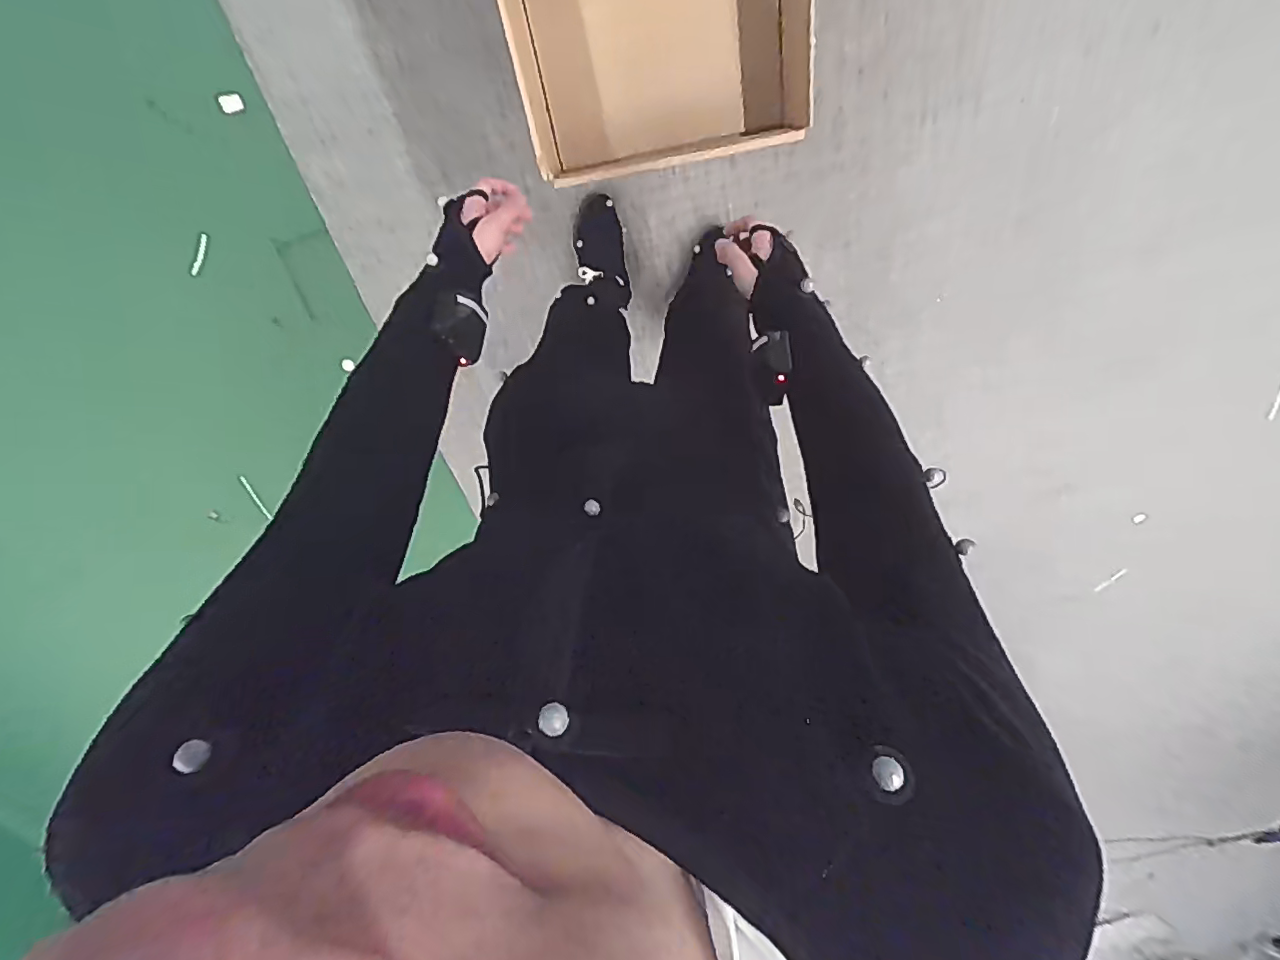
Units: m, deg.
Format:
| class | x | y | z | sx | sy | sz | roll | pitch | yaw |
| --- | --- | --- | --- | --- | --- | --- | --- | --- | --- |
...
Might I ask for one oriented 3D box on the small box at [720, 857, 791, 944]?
| class | x | y | z | sx | sy | sz | roll | pitch | yaw |
| --- | --- | --- | --- | --- | --- | --- | --- | --- | --- |
| small box | 0.344 | 1.259 | 1.627 | 0.168 | 0.176 | 0.179 | -14 | 125 | 9 |
